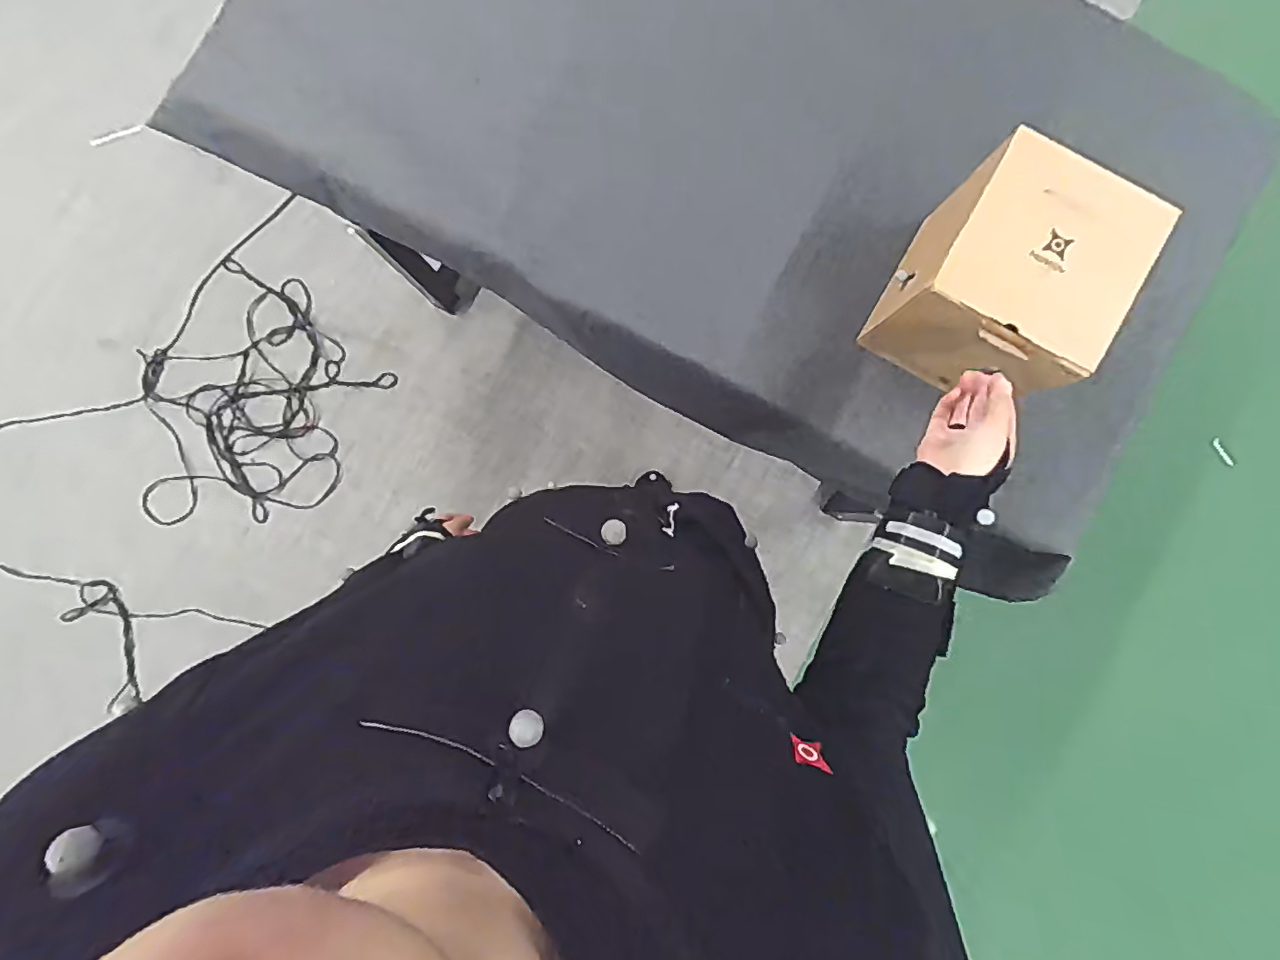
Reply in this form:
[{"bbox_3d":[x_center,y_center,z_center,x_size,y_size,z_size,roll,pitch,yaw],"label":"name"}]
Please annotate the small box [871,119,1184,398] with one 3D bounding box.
[{"bbox_3d":[0.368,-0.204,0.554,0.168,0.176,0.179,29,87,0],"label":"small box"}]
